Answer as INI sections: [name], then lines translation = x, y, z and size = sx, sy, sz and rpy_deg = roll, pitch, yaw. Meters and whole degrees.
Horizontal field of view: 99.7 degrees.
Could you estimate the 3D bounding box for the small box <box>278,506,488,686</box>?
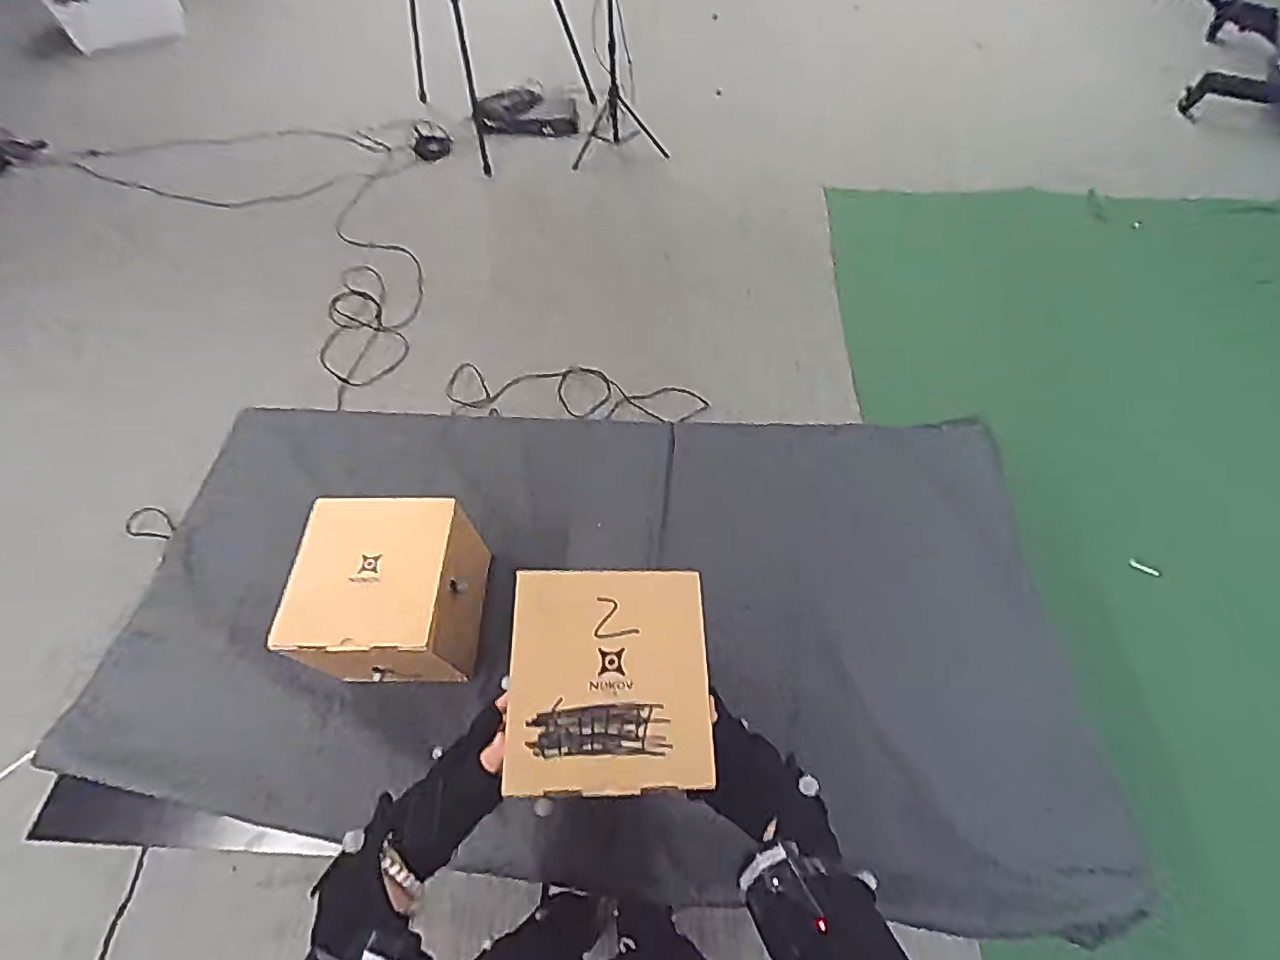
[small box]
translation = -0.295, 0.147, 0.671
size = 0.168, 0.176, 0.179
rpy_deg = 0, 60, 0
